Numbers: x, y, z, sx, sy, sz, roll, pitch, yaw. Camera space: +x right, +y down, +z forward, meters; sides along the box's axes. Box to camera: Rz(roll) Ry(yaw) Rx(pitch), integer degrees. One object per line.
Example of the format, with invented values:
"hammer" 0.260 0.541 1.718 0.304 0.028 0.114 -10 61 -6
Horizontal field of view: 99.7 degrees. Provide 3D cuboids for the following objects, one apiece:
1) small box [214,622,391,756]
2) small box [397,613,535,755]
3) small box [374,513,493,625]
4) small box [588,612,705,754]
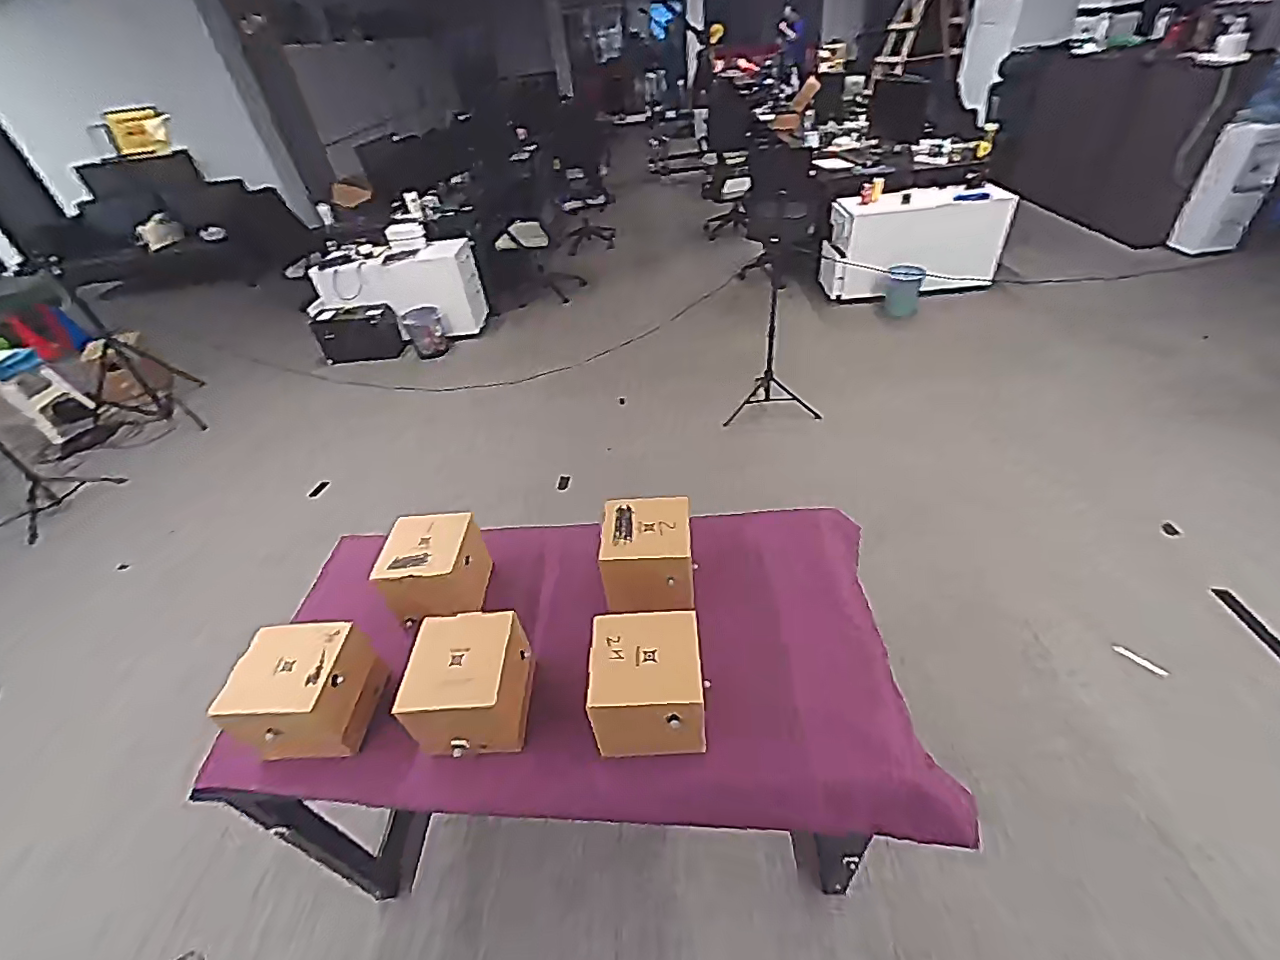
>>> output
"small box" -0.584 0.375 0.964 0.179 0.176 0.168 -4 41 5
"small box" -0.289 0.356 0.945 0.168 0.176 0.179 -5 42 4
"small box" -0.428 0.195 1.156 0.168 0.176 0.179 -4 40 4
"small box" 0.017 0.342 0.908 0.179 0.176 0.168 -4 39 5
